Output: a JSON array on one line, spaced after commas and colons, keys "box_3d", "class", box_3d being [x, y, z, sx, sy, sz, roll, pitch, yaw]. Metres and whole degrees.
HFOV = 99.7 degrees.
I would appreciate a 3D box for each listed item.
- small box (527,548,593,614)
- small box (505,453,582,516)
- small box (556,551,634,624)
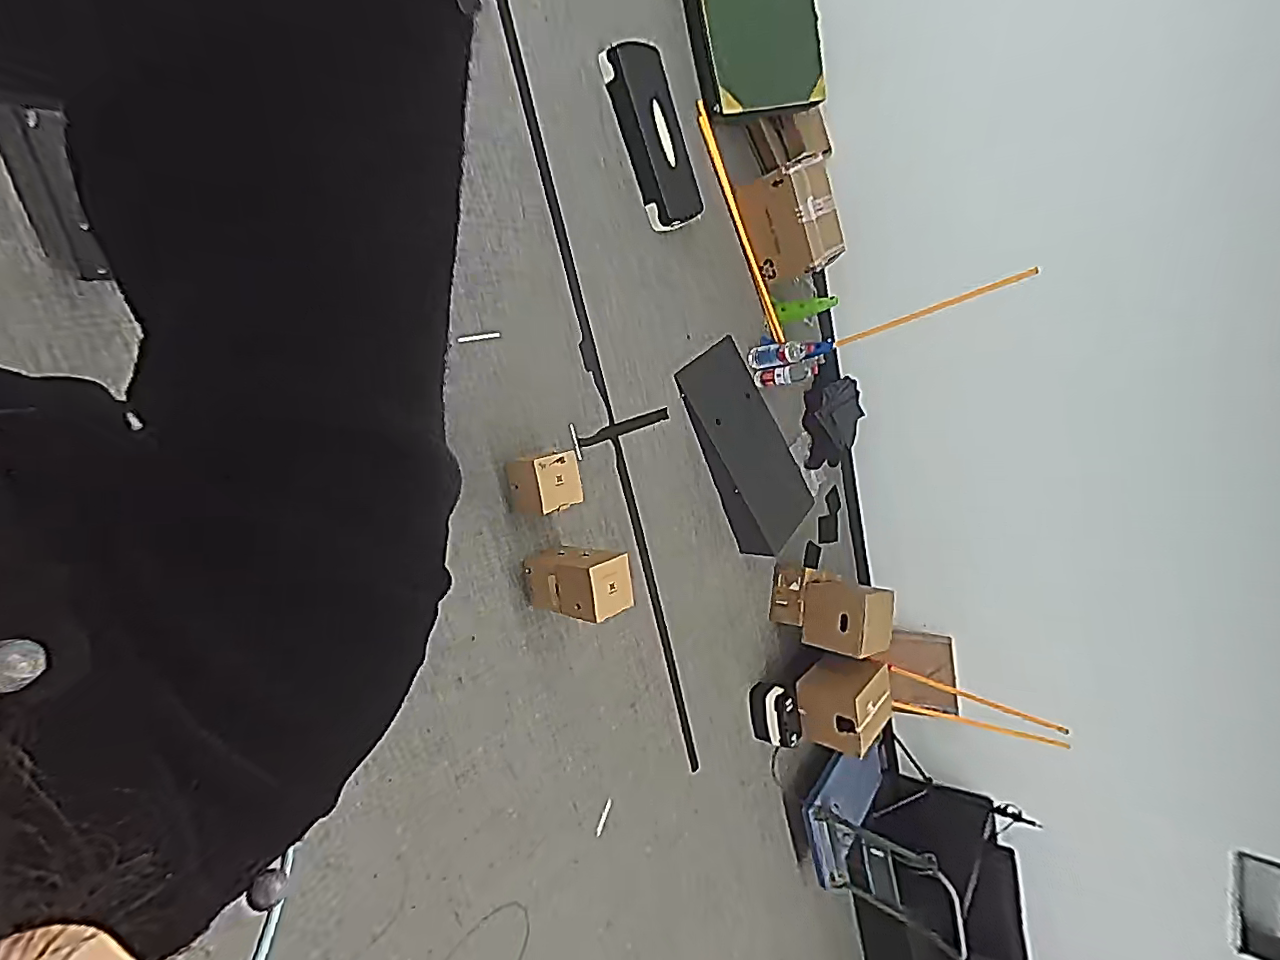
[{"box_3d": [-0.264, 0.332, 1.818, 0.179, 0.176, 0.168, -17, 102, -45], "class": "small box"}, {"box_3d": [-0.316, 0.009, 1.765, 0.168, 0.176, 0.179, -18, 103, -44], "class": "small box"}, {"box_3d": [-0.143, 0.333, 1.708, 0.168, 0.176, 0.179, -15, 100, -46], "class": "small box"}]
